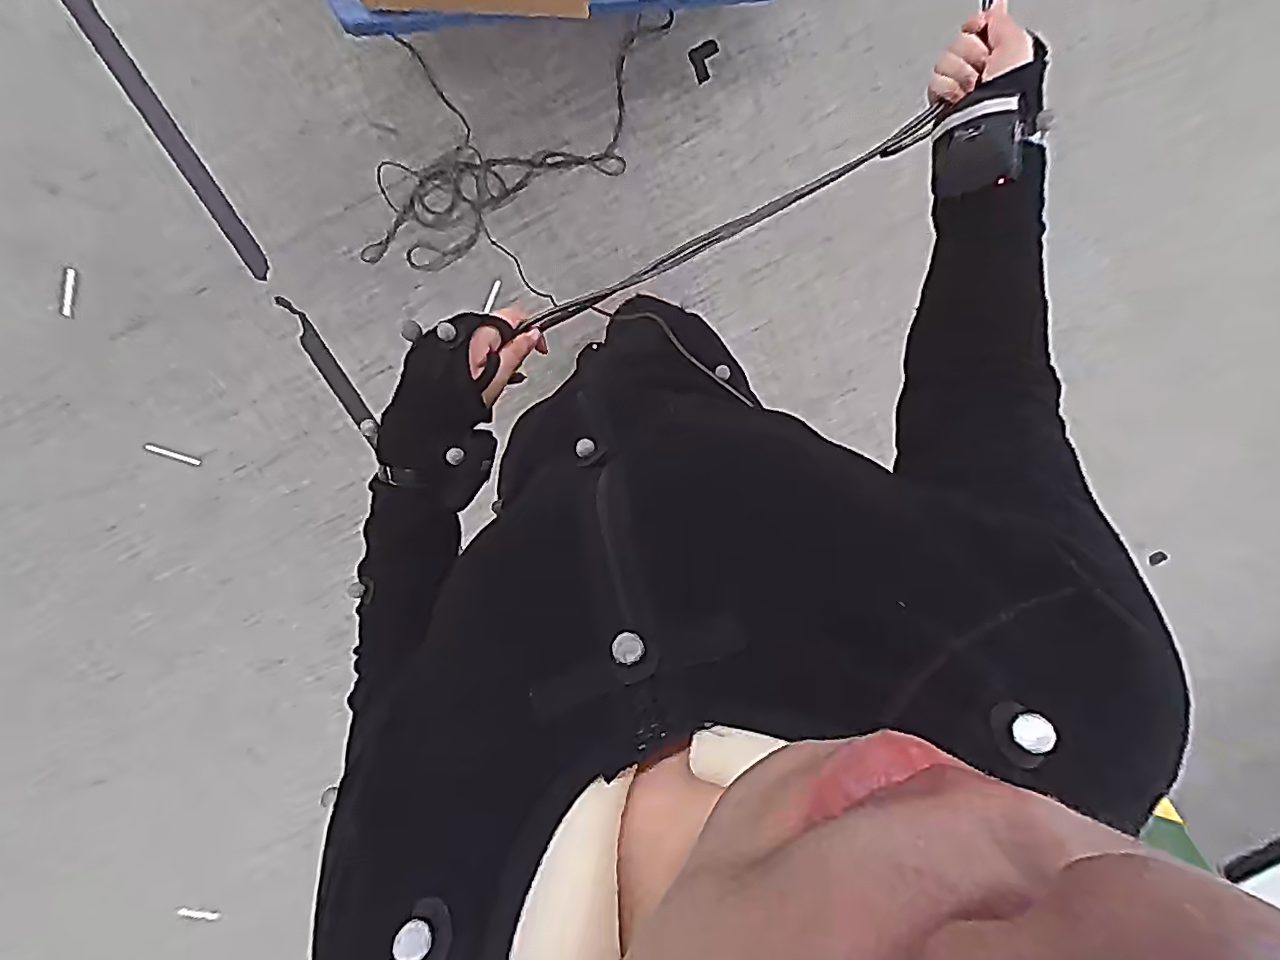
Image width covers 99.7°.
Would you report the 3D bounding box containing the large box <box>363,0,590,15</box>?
[{"bbox_3d":[-0.281,-0.958,0.816,0.408,0.320,0.320,-5,108,-7],"label":"large box"}]
